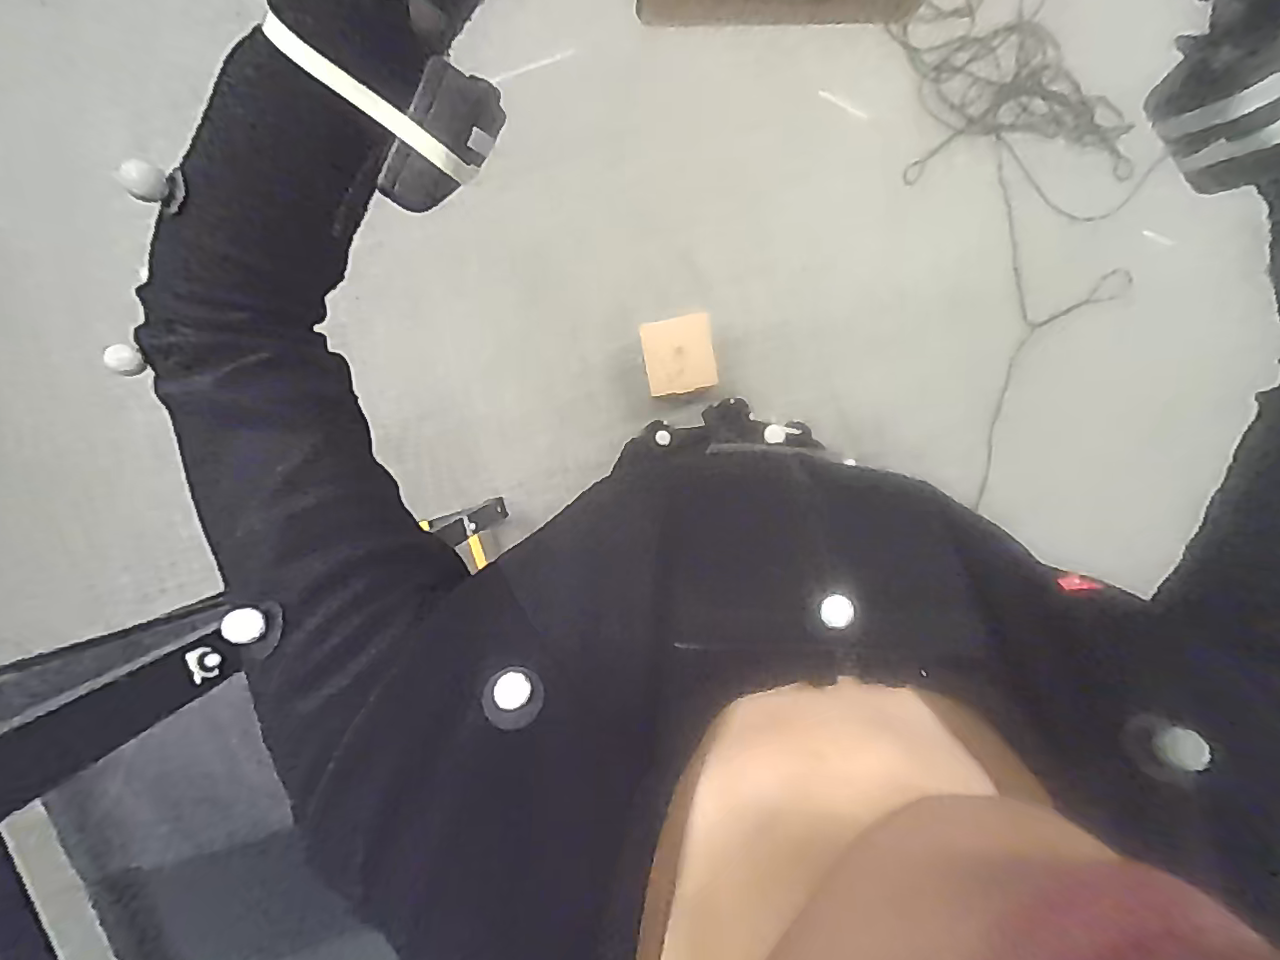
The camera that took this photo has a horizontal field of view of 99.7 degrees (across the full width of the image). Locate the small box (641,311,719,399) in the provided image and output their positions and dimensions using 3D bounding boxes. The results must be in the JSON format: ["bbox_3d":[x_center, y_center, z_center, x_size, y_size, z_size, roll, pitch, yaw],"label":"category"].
[{"bbox_3d":[0.098,-0.309,1.369,0.168,0.176,0.179,-11,96,3],"label":"small box"}]
